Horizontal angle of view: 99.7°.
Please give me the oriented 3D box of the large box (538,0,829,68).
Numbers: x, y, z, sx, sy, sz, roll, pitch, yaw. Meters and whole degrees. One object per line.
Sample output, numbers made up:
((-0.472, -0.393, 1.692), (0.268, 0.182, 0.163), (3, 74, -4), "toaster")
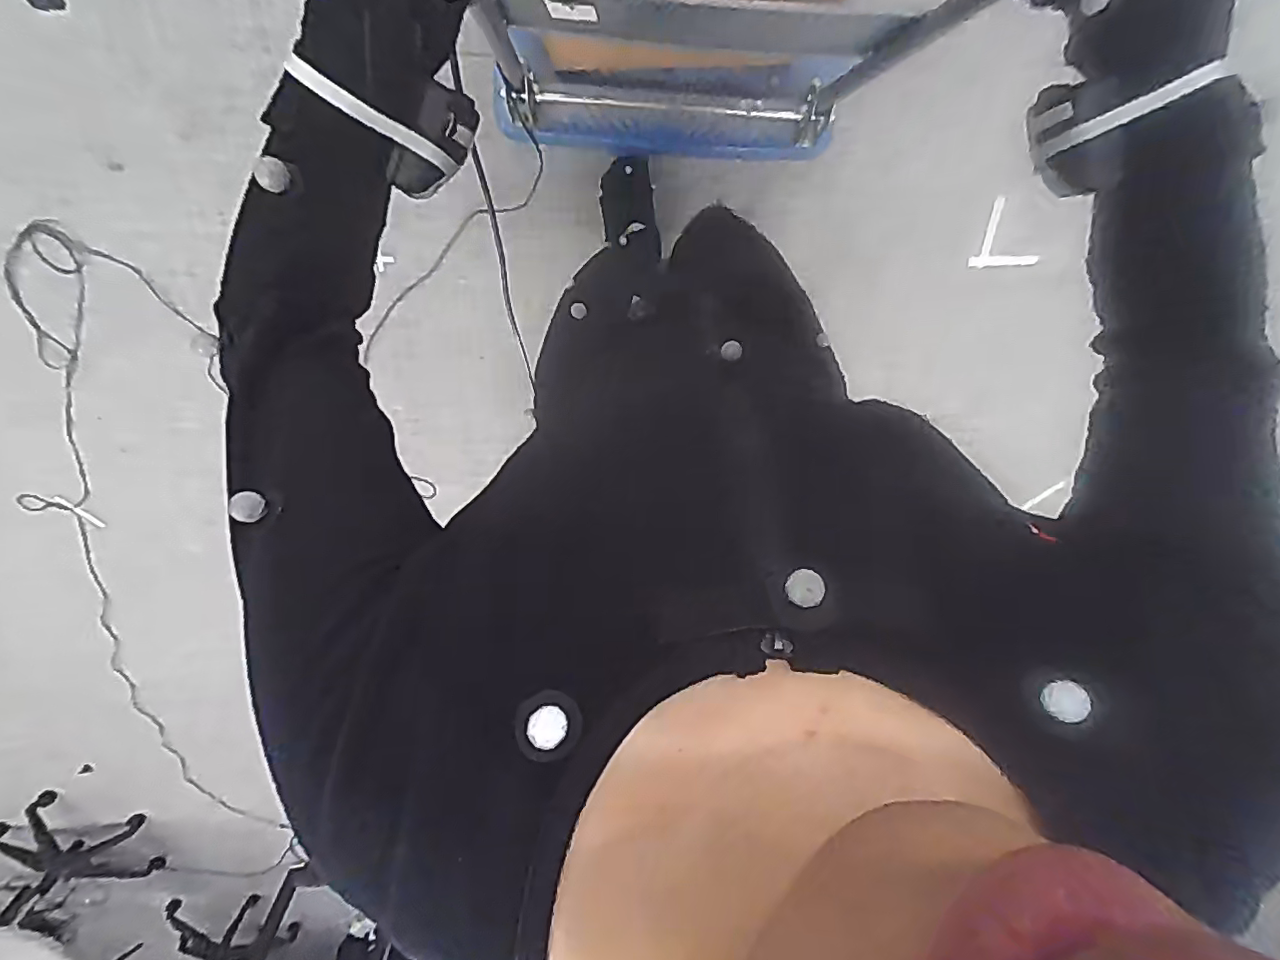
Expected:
((0.051, -0.785, 0.704), (0.408, 0.320, 0.320), (-4, 110, -3), "large box")
